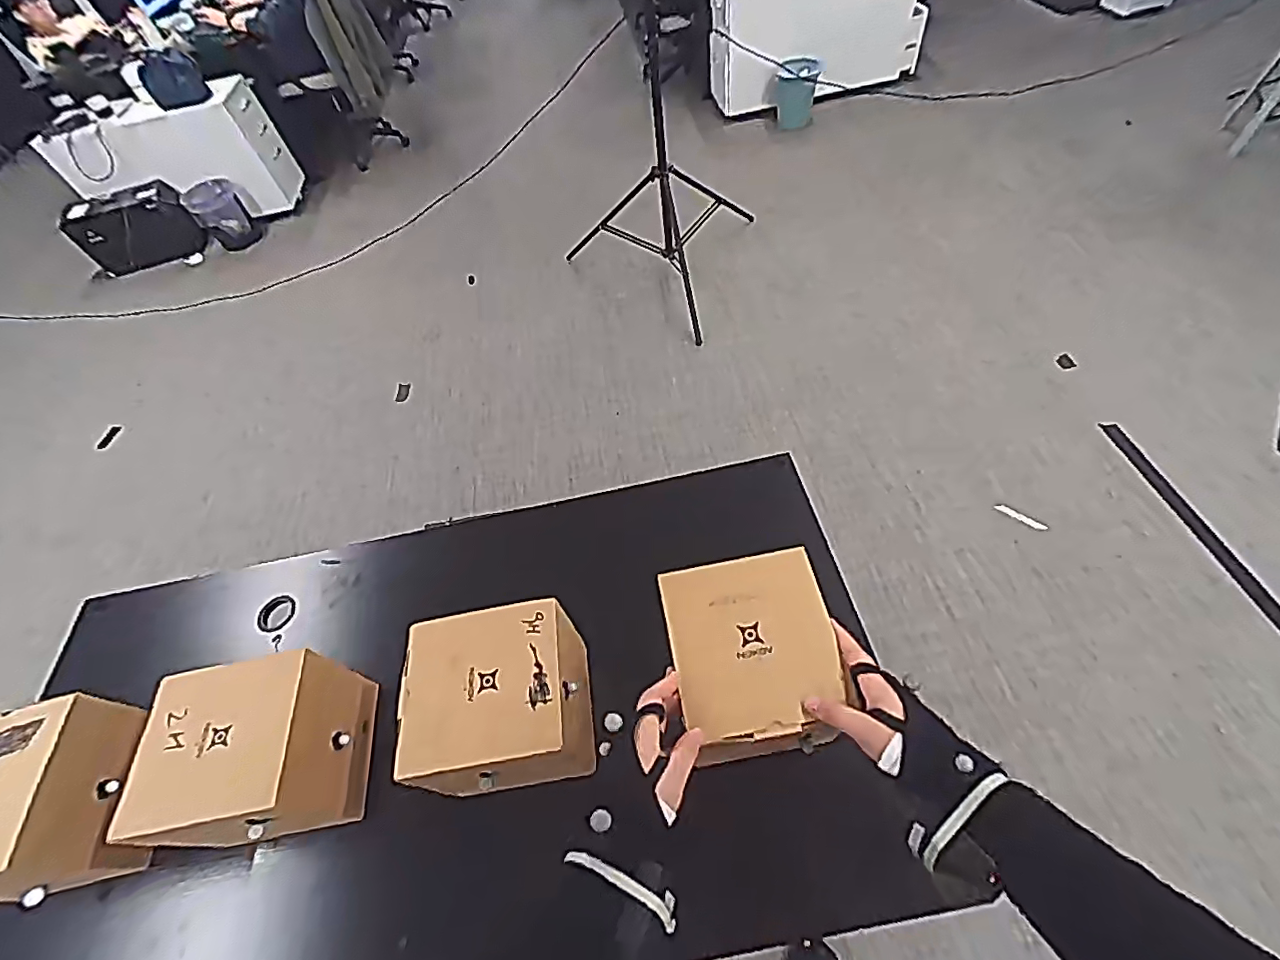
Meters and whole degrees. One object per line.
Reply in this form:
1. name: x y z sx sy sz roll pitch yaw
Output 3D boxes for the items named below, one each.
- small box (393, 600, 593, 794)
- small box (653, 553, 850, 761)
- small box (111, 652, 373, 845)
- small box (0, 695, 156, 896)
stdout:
1. small box: -0.164 0.267 0.653 0.179 0.176 0.168 -11 54 2
2. small box: 0.115 0.209 0.617 0.168 0.176 0.179 -11 55 -1
3. small box: -0.452 0.328 0.654 0.179 0.176 0.168 -12 54 0
4. small box: -0.712 0.386 0.655 0.168 0.176 0.179 -14 55 -1
